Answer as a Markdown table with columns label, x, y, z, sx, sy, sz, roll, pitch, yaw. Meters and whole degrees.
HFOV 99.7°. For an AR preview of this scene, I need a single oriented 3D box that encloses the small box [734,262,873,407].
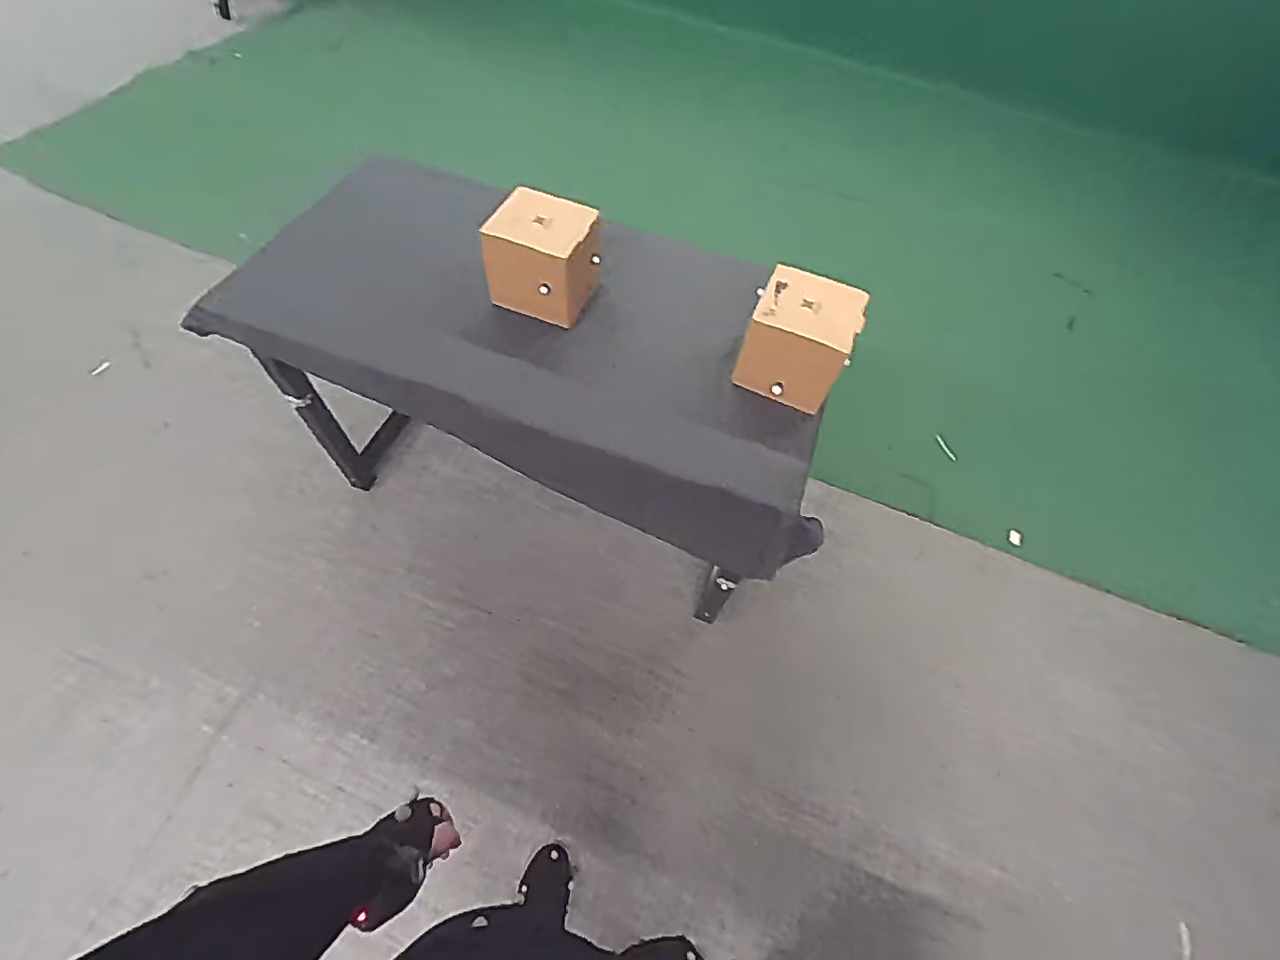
| label | x | y | z | sx | sy | sz | roll | pitch | yaw |
| --- | --- | --- | --- | --- | --- | --- | --- | --- | --- |
| small box | 0.297 | -0.262 | 1.007 | 0.179 | 0.176 | 0.168 | 24 | 60 | 8 |

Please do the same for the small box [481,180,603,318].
| label | x | y | z | sx | sy | sz | roll | pitch | yaw |
| --- | --- | --- | --- | --- | --- | --- | --- | --- | --- |
| small box | -0.184 | -0.446 | 1.062 | 0.179 | 0.176 | 0.168 | 20 | 59 | 6 |
